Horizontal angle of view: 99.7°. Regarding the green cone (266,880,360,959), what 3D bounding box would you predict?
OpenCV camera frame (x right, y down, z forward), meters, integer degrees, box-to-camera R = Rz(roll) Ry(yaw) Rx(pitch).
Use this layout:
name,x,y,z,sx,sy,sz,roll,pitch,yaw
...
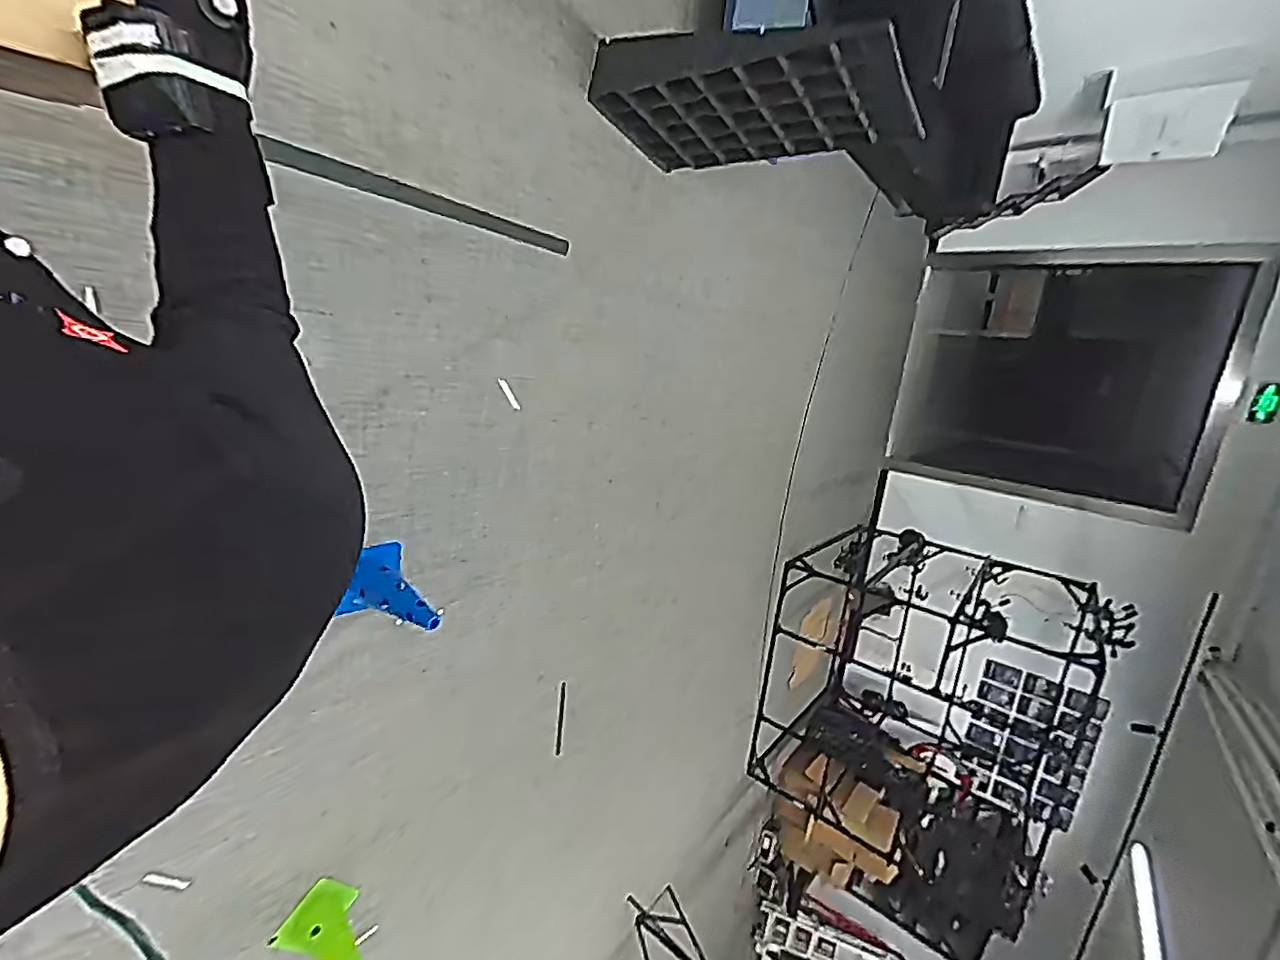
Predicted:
name,x,y,z,sx,sy,sz,roll,pitch,yaw
green cone,-0.900,1.425,1.612,0.202,0.368,0.200,-51,139,-31

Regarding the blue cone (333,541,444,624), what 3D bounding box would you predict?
name,x,y,z,sx,sy,sz,roll,pitch,yaw
blue cone,-0.681,0.320,1.509,0.192,0.380,0.193,-4,106,-54

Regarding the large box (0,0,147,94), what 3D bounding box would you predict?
name,x,y,z,sx,sy,sz,roll,pitch,yaw
large box,-0.556,-0.432,0.253,0.408,0.320,0.320,-16,123,-49
